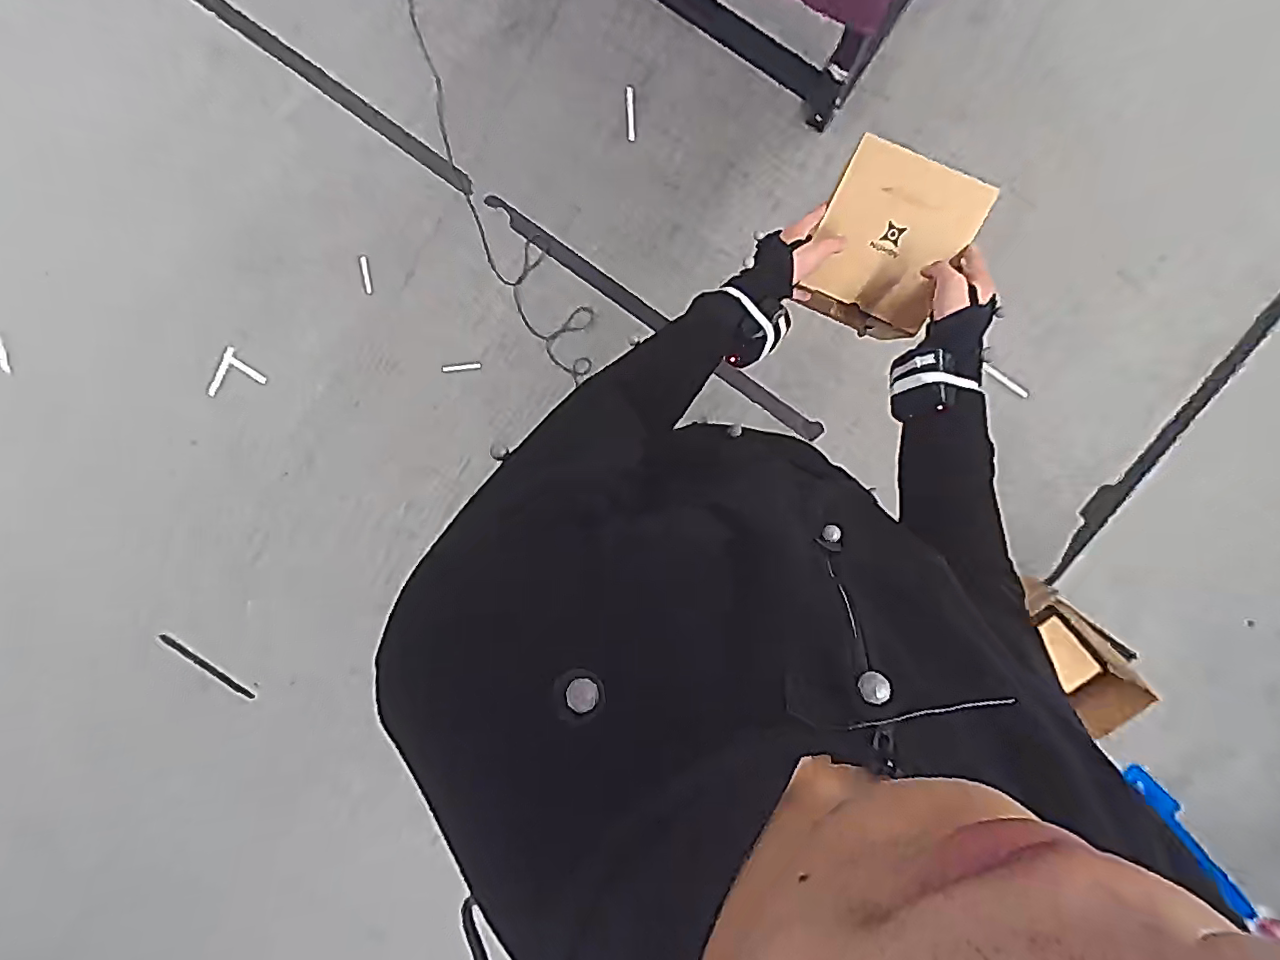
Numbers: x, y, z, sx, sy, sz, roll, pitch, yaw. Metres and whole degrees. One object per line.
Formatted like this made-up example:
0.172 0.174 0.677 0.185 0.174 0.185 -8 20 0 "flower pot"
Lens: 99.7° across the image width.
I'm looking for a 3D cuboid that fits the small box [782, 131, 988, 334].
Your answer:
0.298 -0.302 0.705 0.168 0.176 0.179 25 105 4 "small box"
